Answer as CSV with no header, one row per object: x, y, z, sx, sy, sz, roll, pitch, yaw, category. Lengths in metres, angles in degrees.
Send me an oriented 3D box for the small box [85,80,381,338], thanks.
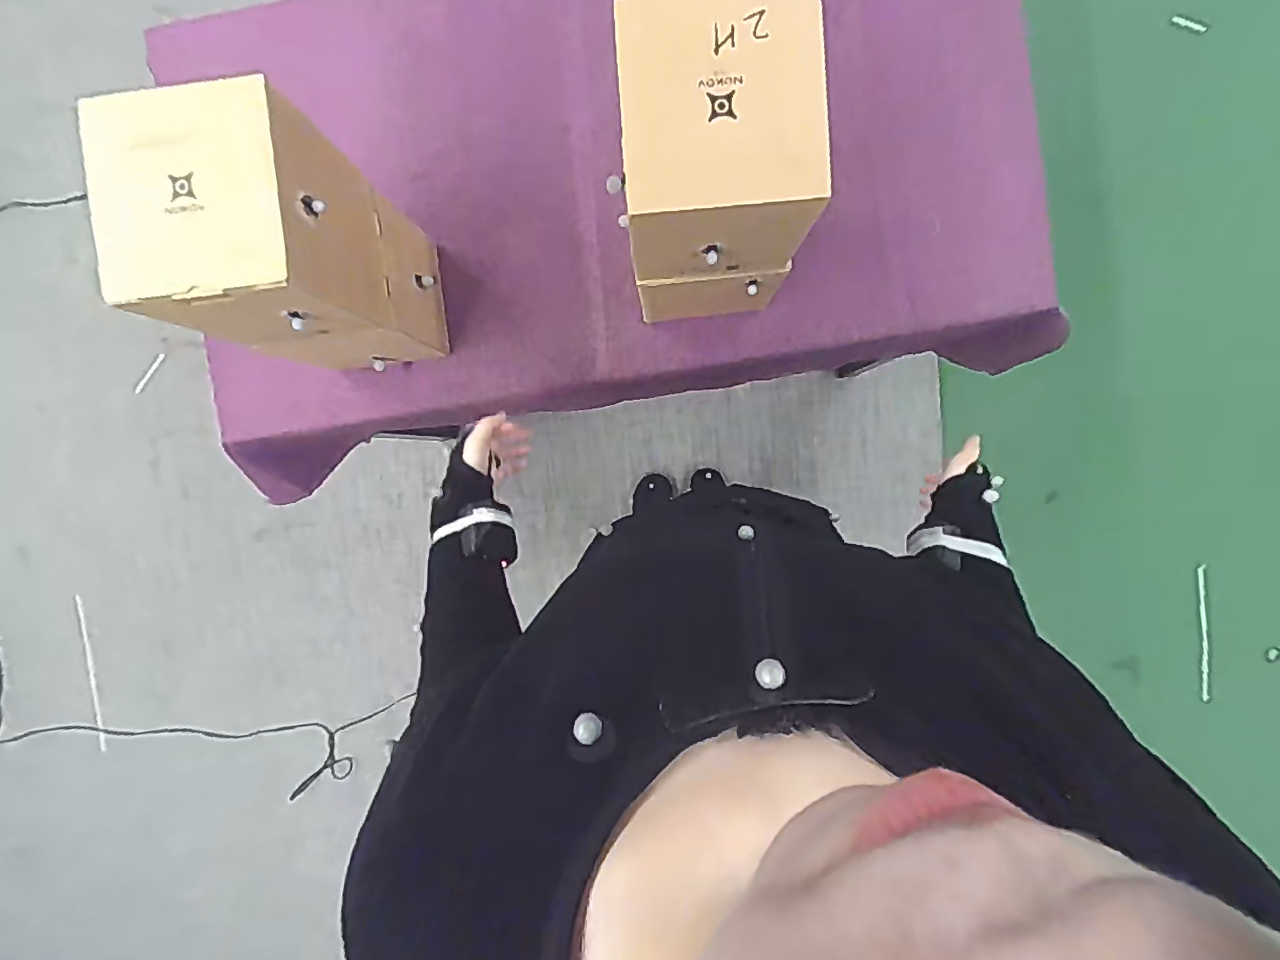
-0.381,-0.247,0.539,0.168,0.176,0.179,-5,91,3,small box

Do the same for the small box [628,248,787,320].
0.074,-0.308,0.678,0.179,0.176,0.168,-5,92,3,small box

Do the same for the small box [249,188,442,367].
-0.374,-0.248,0.703,0.179,0.176,0.168,-6,92,3,small box

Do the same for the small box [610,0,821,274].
0.065,-0.307,0.513,0.168,0.176,0.179,-3,92,3,small box
